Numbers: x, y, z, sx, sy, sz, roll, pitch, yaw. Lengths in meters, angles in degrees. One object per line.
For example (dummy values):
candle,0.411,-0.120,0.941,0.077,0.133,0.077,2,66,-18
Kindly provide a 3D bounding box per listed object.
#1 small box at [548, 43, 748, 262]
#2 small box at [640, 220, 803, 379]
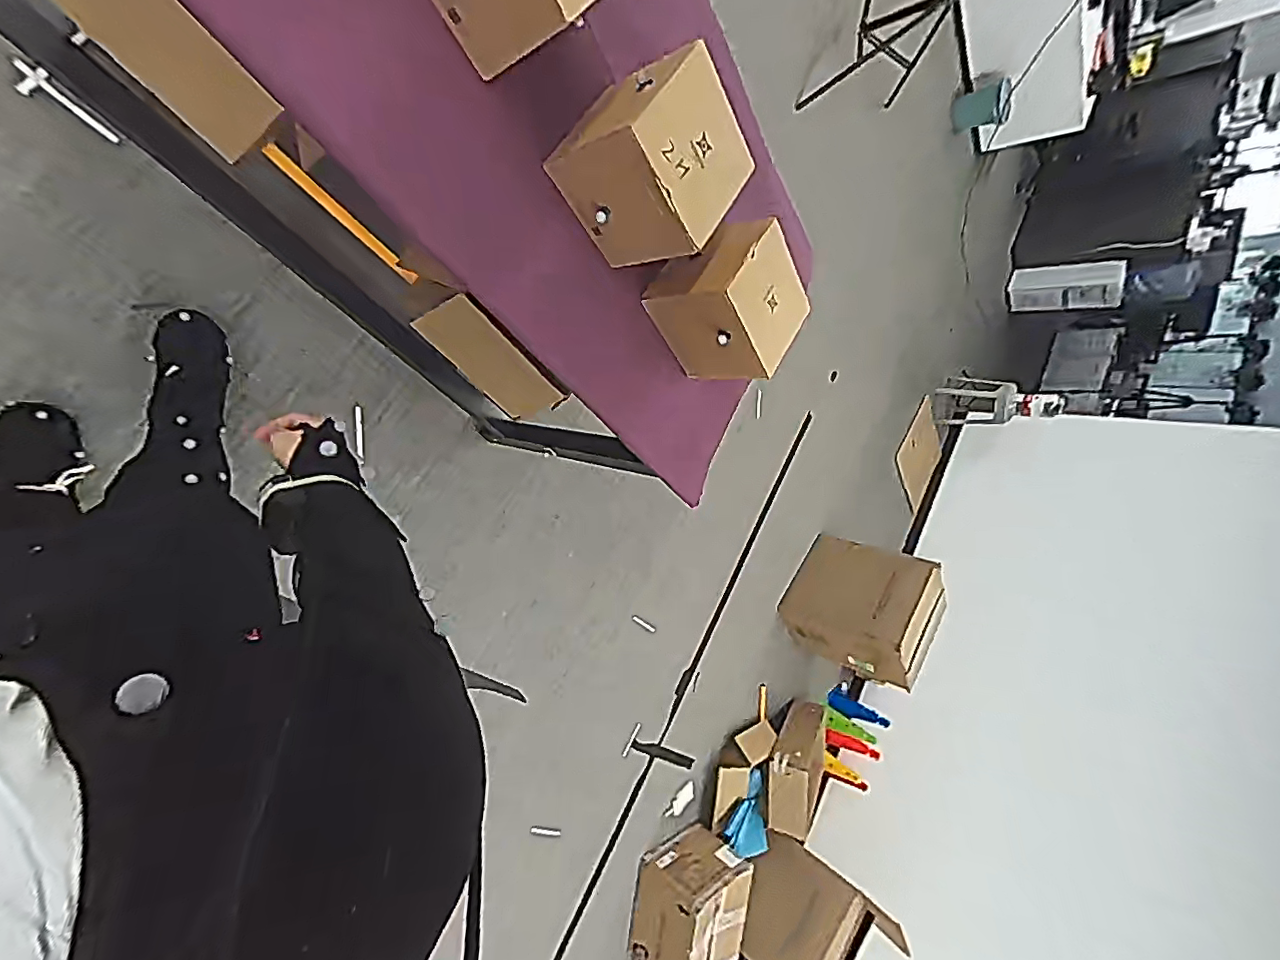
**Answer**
small box,0.011,-0.419,0.720,0.168,0.176,0.179,48,65,-40
small box,0.133,-0.286,0.879,0.168,0.176,0.179,-58,133,-21
